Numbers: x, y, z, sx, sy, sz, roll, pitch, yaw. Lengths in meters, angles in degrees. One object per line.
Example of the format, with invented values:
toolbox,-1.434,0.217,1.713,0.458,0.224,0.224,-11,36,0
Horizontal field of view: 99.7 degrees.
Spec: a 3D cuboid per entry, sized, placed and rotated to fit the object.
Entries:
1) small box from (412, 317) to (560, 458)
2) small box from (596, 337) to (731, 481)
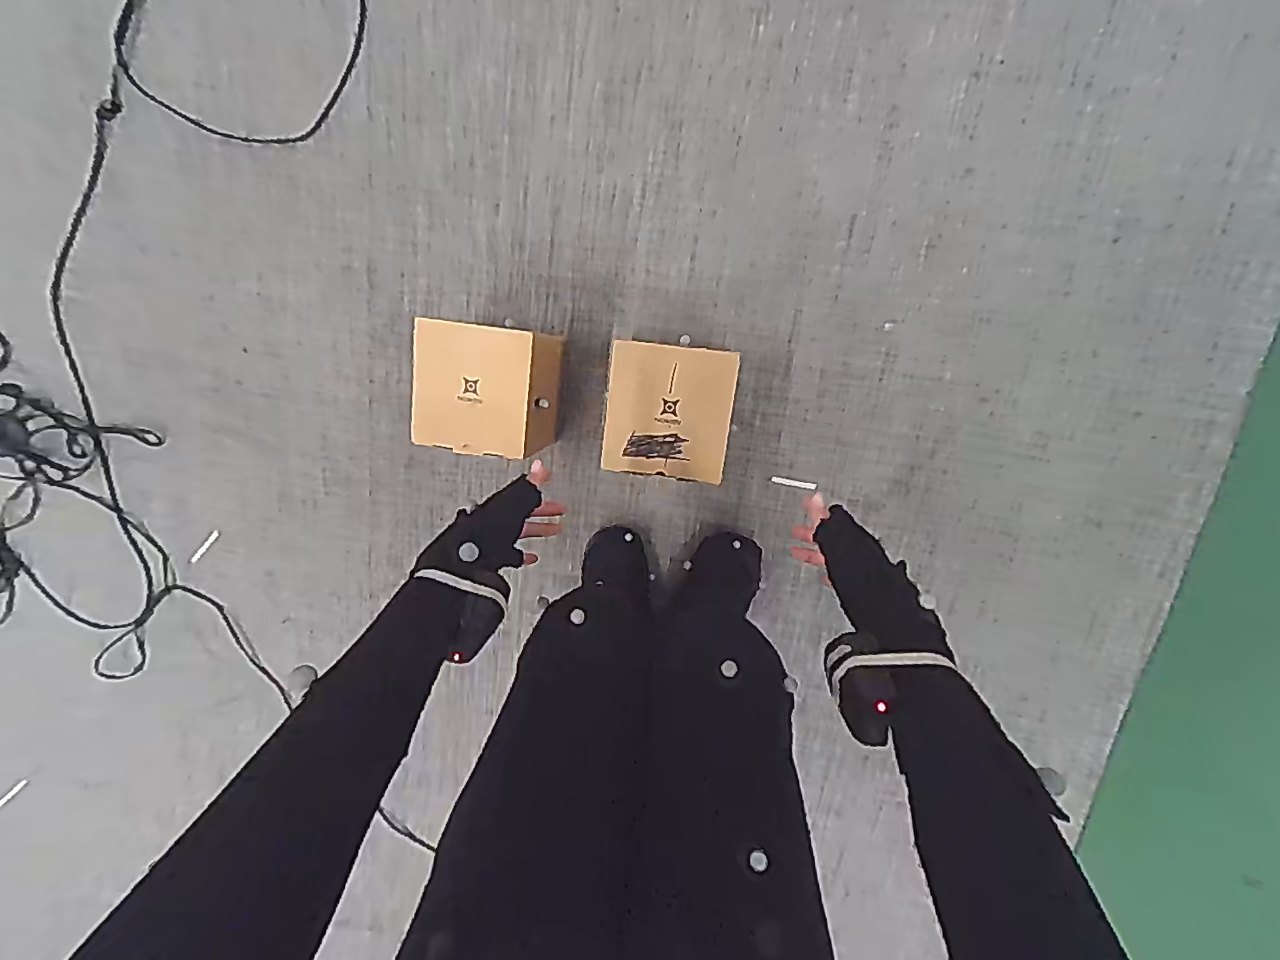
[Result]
small box,-0.225,-0.143,0.822,0.168,0.176,0.179,8,104,5
small box,0.038,-0.110,0.795,0.168,0.176,0.179,8,103,5
